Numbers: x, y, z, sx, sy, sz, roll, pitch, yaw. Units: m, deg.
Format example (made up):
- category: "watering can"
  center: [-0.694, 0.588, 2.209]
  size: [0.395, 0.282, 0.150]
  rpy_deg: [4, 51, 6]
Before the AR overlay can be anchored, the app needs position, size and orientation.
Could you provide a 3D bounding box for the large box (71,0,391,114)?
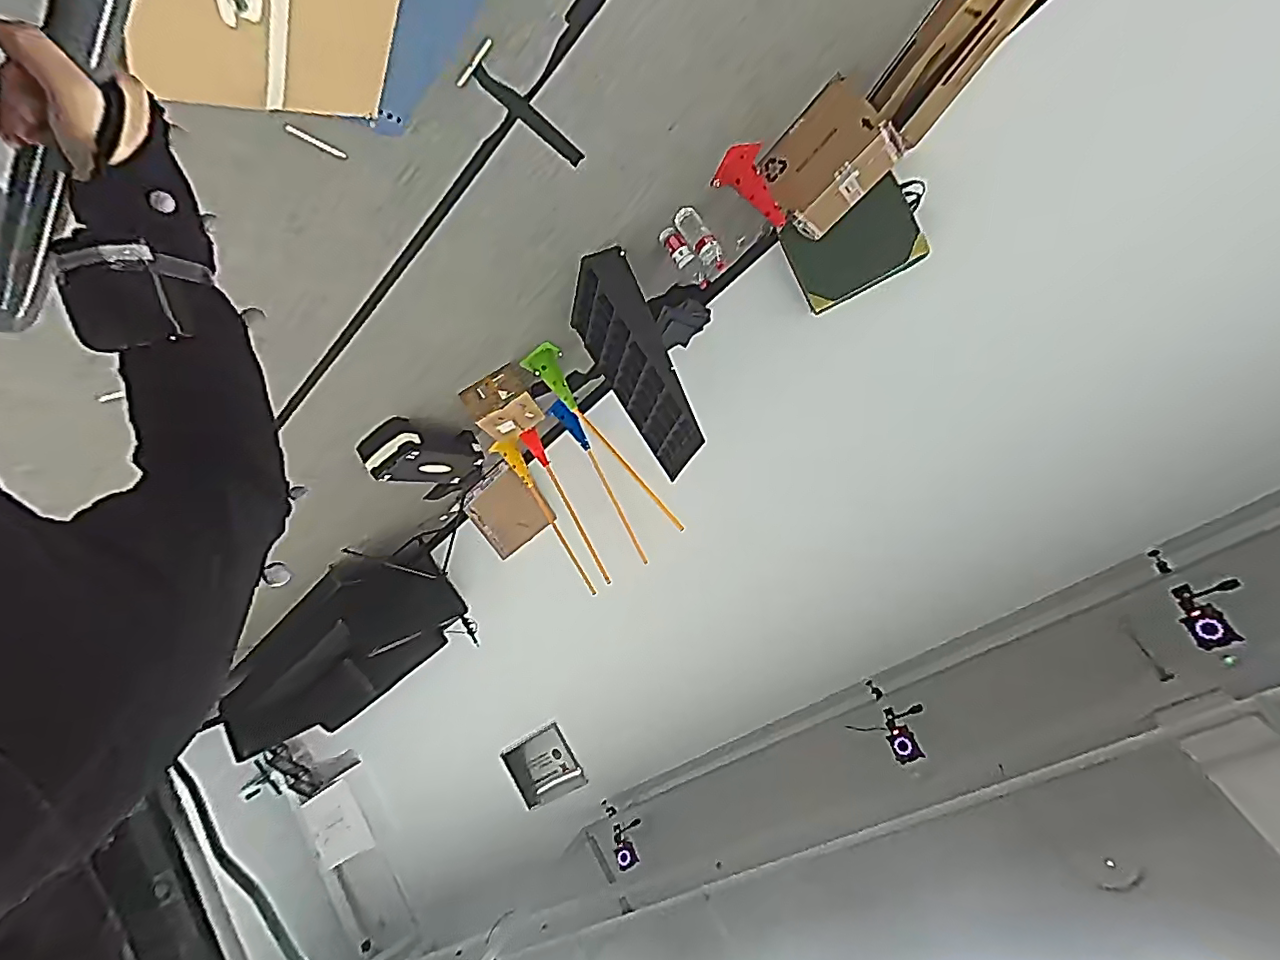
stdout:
- category: "large box"
  center: [-0.507, -0.736, 0.628]
  size: [0.320, 0.320, 0.408]
  rpy_deg: [-31, 174, -44]
